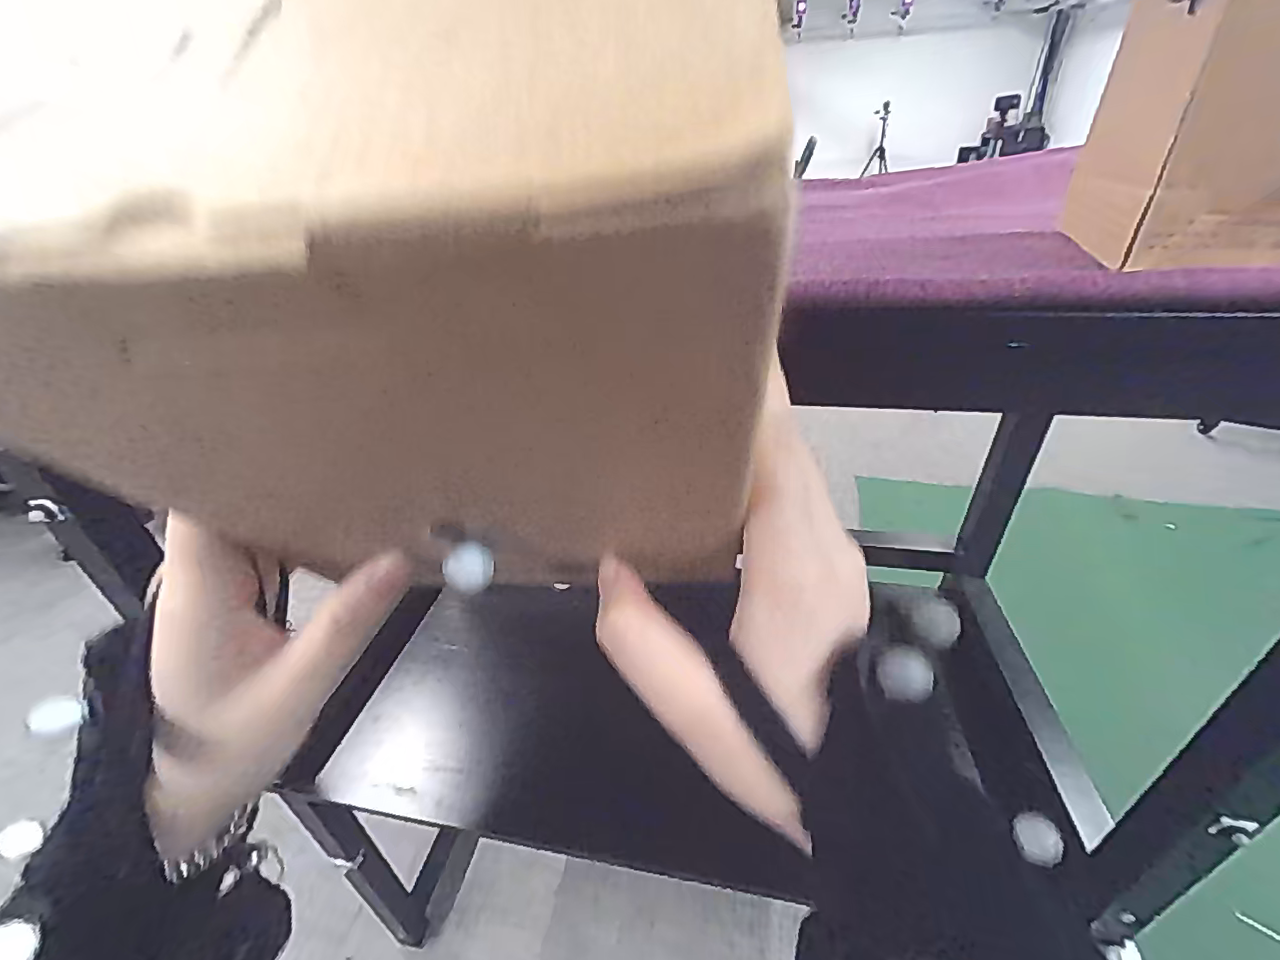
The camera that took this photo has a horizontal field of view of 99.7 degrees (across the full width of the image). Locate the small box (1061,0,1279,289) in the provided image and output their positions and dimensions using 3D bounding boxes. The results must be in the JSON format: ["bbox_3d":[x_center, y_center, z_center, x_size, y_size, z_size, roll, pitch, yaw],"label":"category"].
[{"bbox_3d":[0.382,-0.214,0.312,0.168,0.176,0.179,10,37,19],"label":"small box"}]
